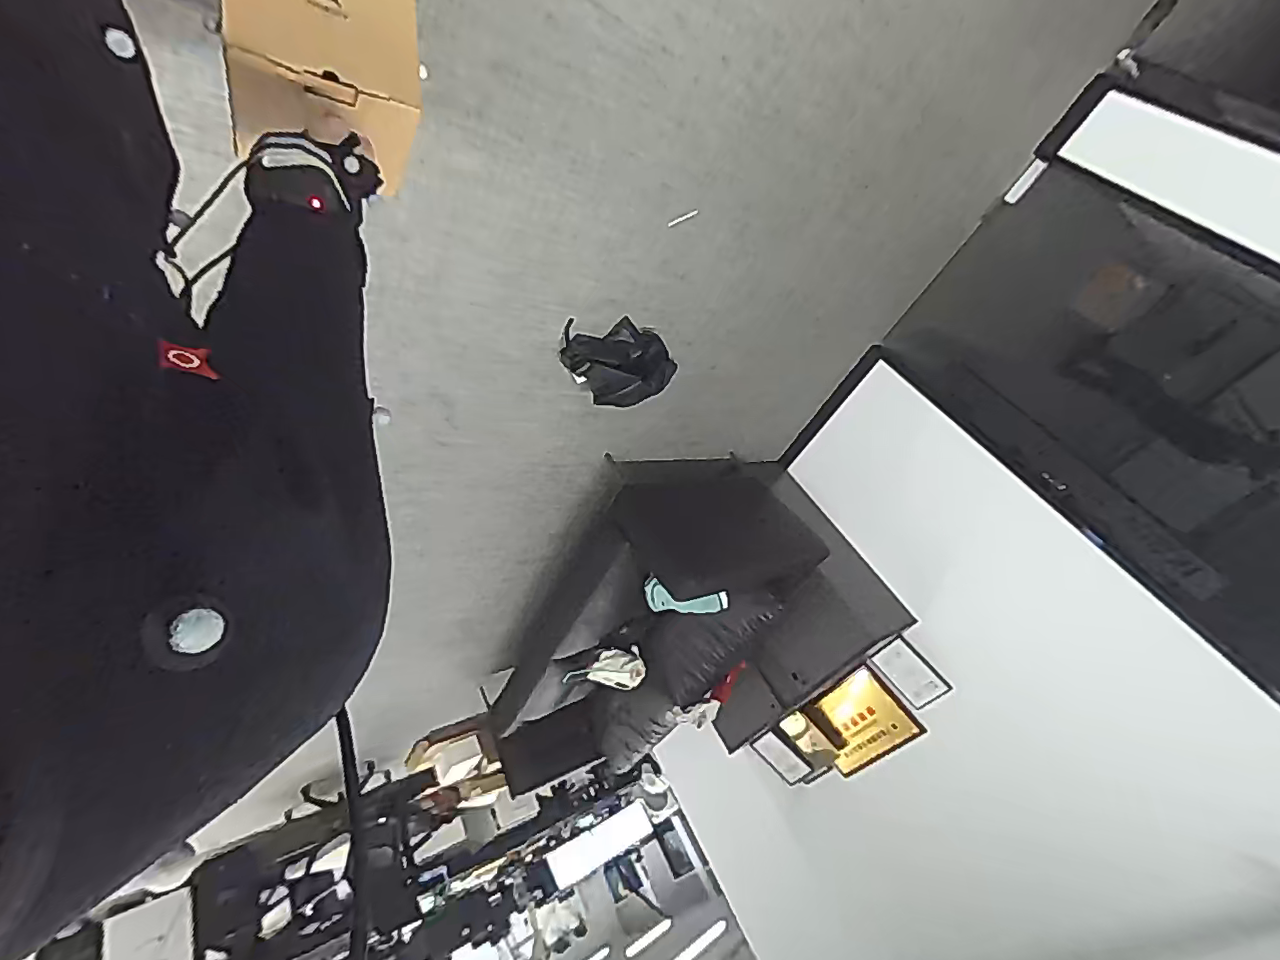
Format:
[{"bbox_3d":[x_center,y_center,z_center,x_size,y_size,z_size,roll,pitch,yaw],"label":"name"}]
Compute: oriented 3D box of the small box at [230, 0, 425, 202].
[{"bbox_3d":[-0.347,-0.448,0.595,0.168,0.179,0.176,-3,175,-35],"label":"small box"}]
